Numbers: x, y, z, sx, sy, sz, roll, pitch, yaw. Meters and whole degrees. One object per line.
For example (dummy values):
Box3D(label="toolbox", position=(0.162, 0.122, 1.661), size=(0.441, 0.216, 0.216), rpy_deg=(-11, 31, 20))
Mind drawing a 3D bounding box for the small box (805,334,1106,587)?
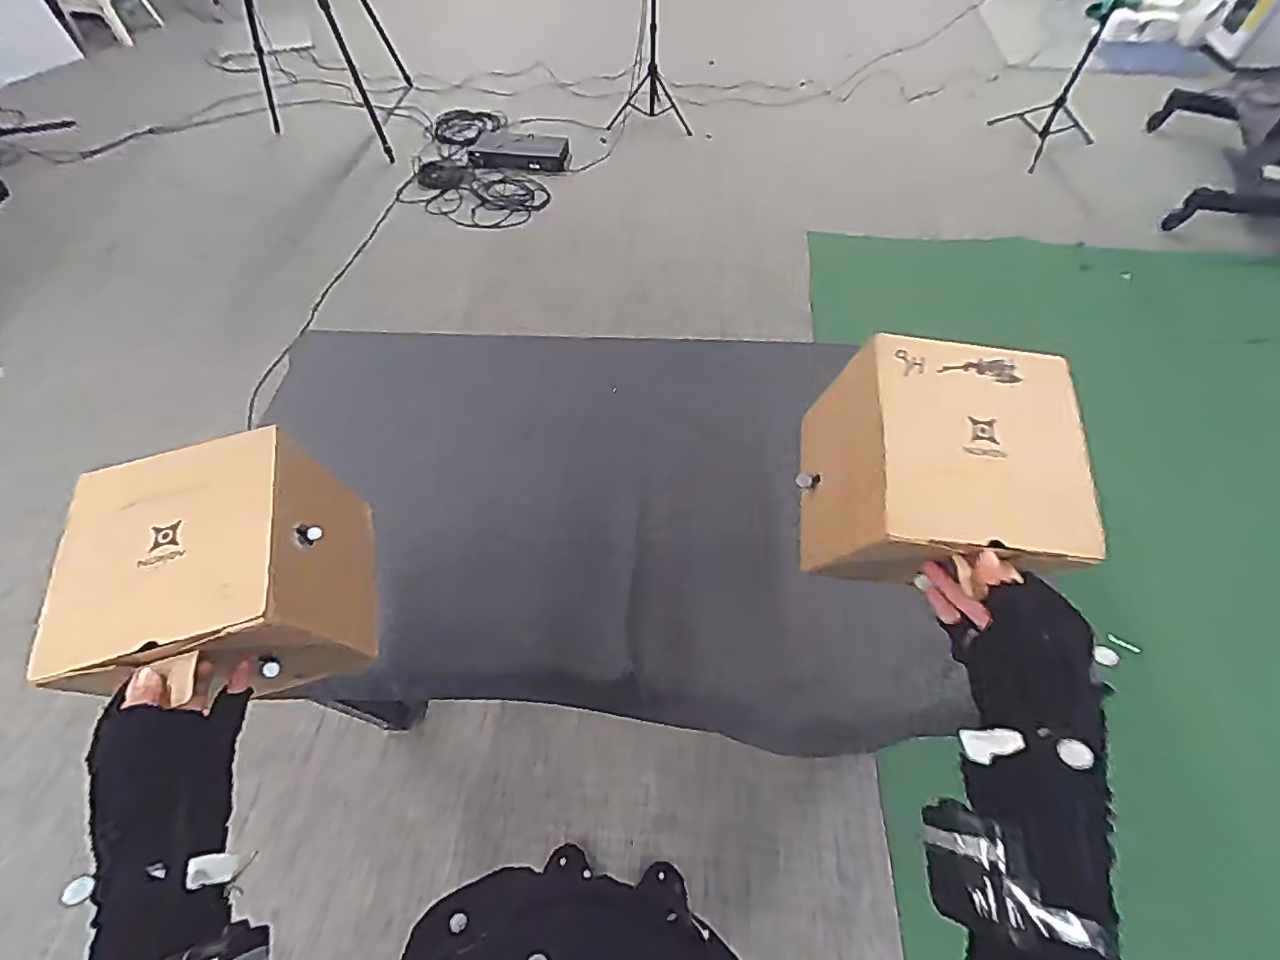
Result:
Box3D(label="small box", position=(0.258, -0.003, 0.488), size=(0.168, 0.176, 0.179), rpy_deg=(7, 72, -3))

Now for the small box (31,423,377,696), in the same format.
Box3D(label="small box", position=(-0.354, 0.082, 0.483), size=(0.168, 0.176, 0.179), rpy_deg=(-16, 61, -5))
